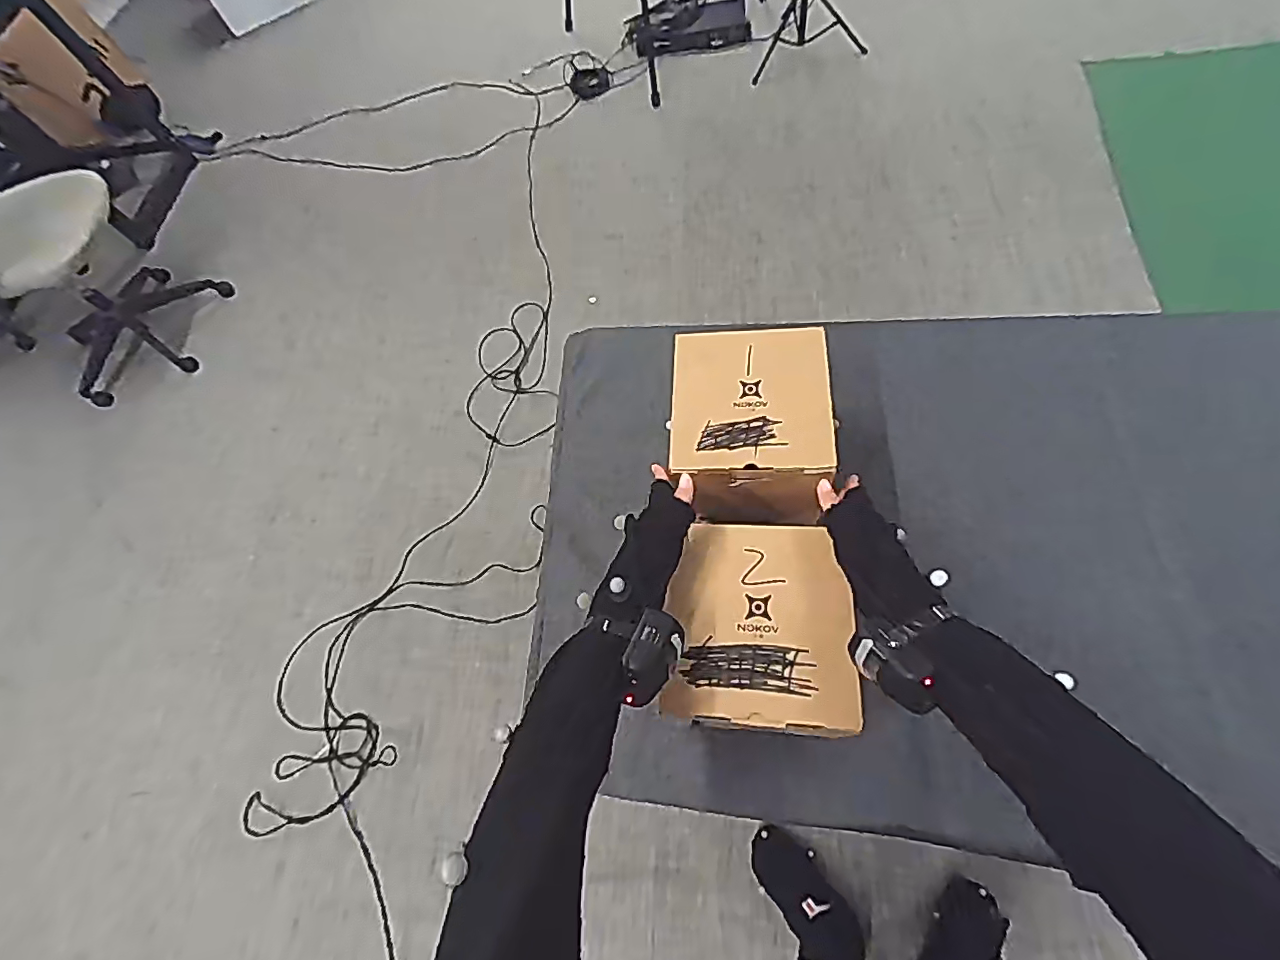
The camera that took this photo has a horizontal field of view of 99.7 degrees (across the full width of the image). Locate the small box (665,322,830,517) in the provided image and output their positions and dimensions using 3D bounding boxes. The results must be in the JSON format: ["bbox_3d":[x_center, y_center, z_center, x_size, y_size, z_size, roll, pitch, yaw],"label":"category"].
[{"bbox_3d":[0.125,-0.061,0.643,0.168,0.176,0.179,0,66,10],"label":"small box"}]
